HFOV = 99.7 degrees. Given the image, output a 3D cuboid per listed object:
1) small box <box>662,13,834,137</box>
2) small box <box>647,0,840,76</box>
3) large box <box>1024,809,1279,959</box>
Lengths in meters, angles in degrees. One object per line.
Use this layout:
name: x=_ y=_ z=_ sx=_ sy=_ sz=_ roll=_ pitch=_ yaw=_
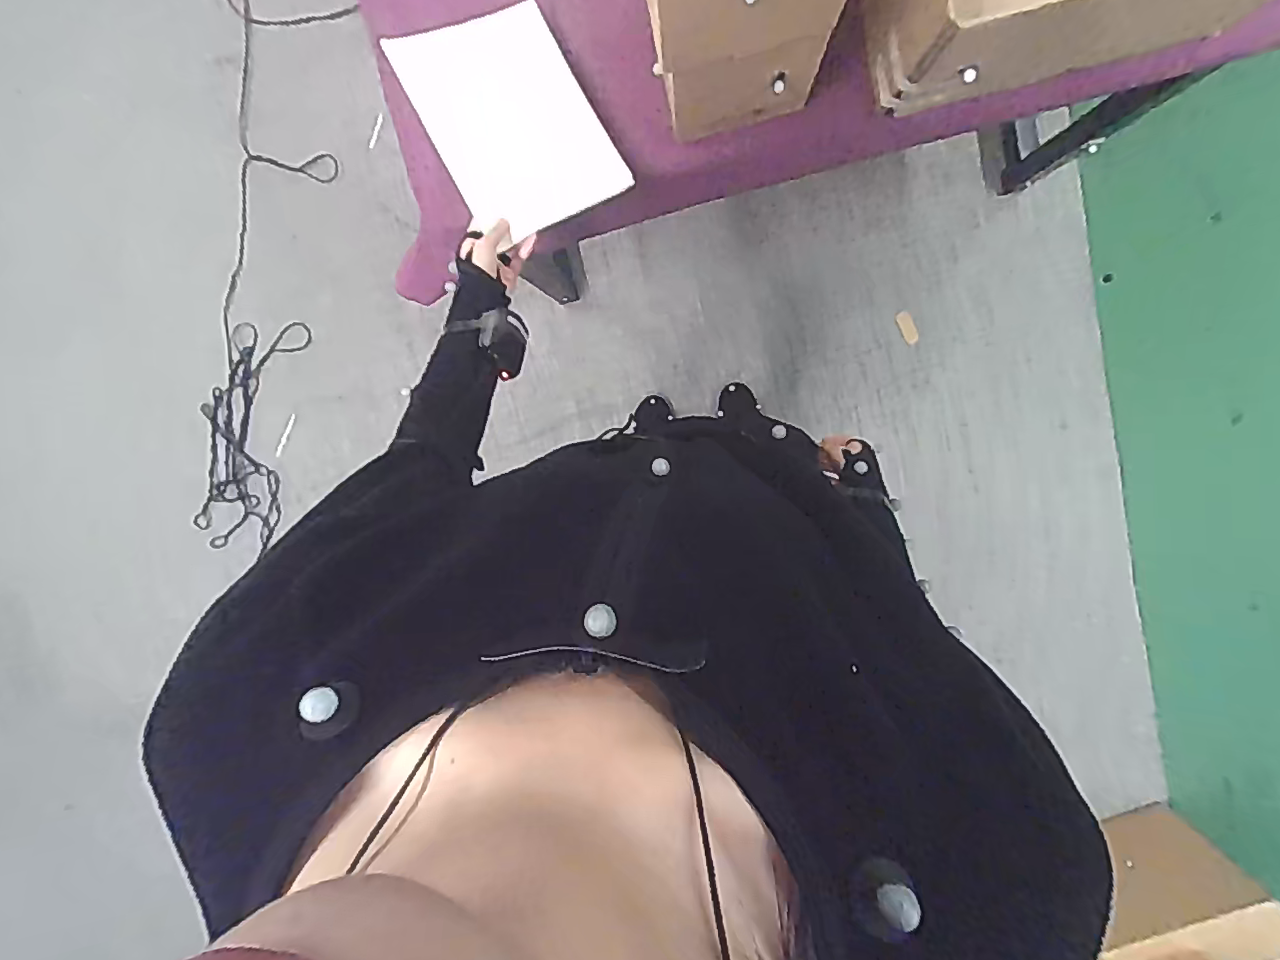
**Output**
small box: x=0.104 y=-0.519 z=0.607 sx=0.168 sy=0.176 sz=0.179 roll=-11 pitch=96 yaw=6
small box: x=0.084 y=-0.486 z=0.447 sx=0.179 sy=0.176 sz=0.168 roll=-11 pitch=96 yaw=7
large box: x=1.334 y=1.156 z=1.401 sx=0.408 sy=0.320 sz=0.320 roll=-27 pitch=95 yaw=8
